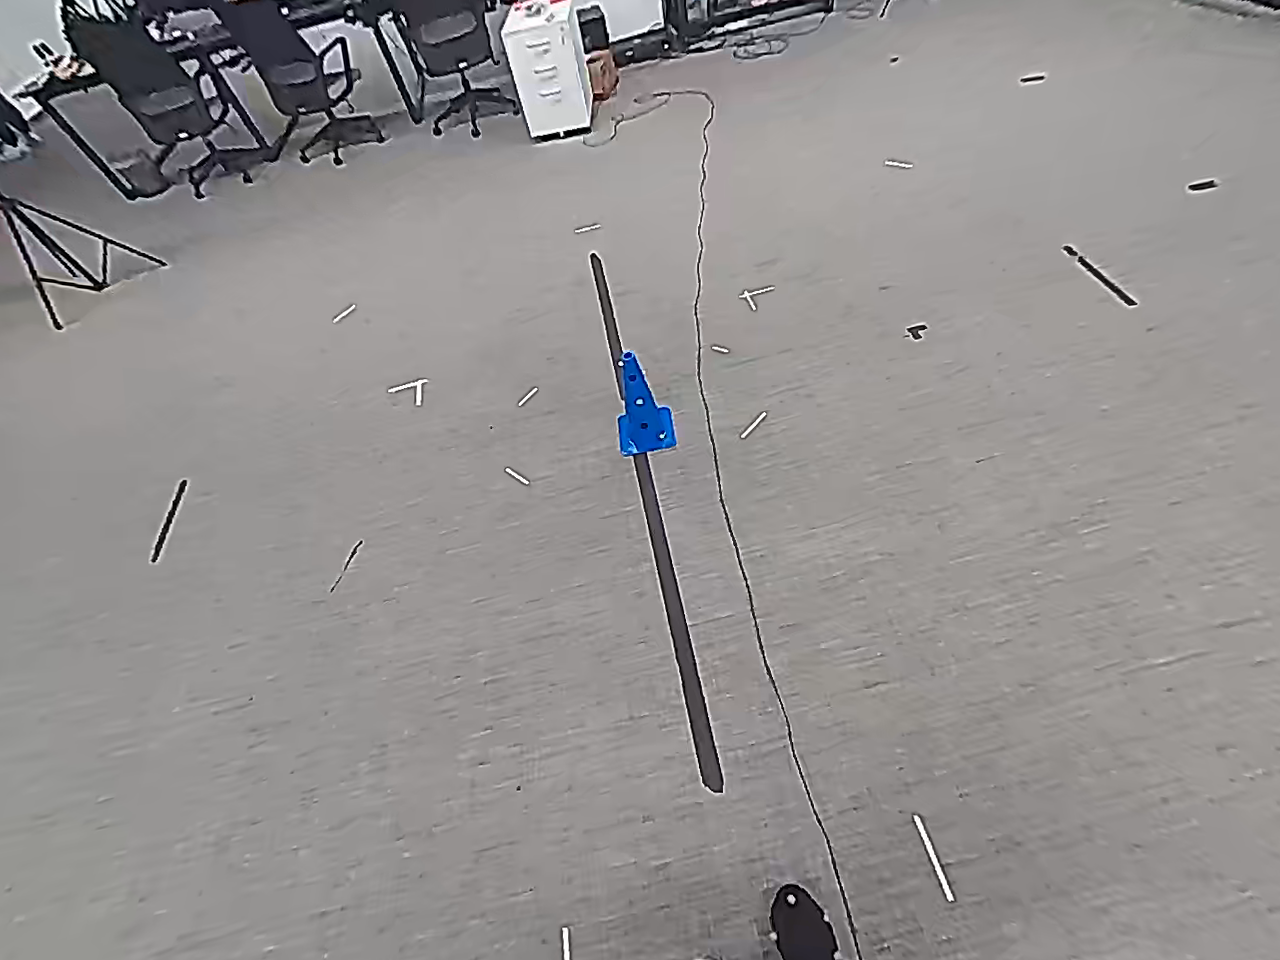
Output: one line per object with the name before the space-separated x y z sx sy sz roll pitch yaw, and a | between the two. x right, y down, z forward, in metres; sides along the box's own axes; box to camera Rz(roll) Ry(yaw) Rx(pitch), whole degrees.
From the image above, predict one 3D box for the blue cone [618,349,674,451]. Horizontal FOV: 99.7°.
blue cone | -0.008 -0.288 1.812 0.193 0.380 0.192 -11 52 3
